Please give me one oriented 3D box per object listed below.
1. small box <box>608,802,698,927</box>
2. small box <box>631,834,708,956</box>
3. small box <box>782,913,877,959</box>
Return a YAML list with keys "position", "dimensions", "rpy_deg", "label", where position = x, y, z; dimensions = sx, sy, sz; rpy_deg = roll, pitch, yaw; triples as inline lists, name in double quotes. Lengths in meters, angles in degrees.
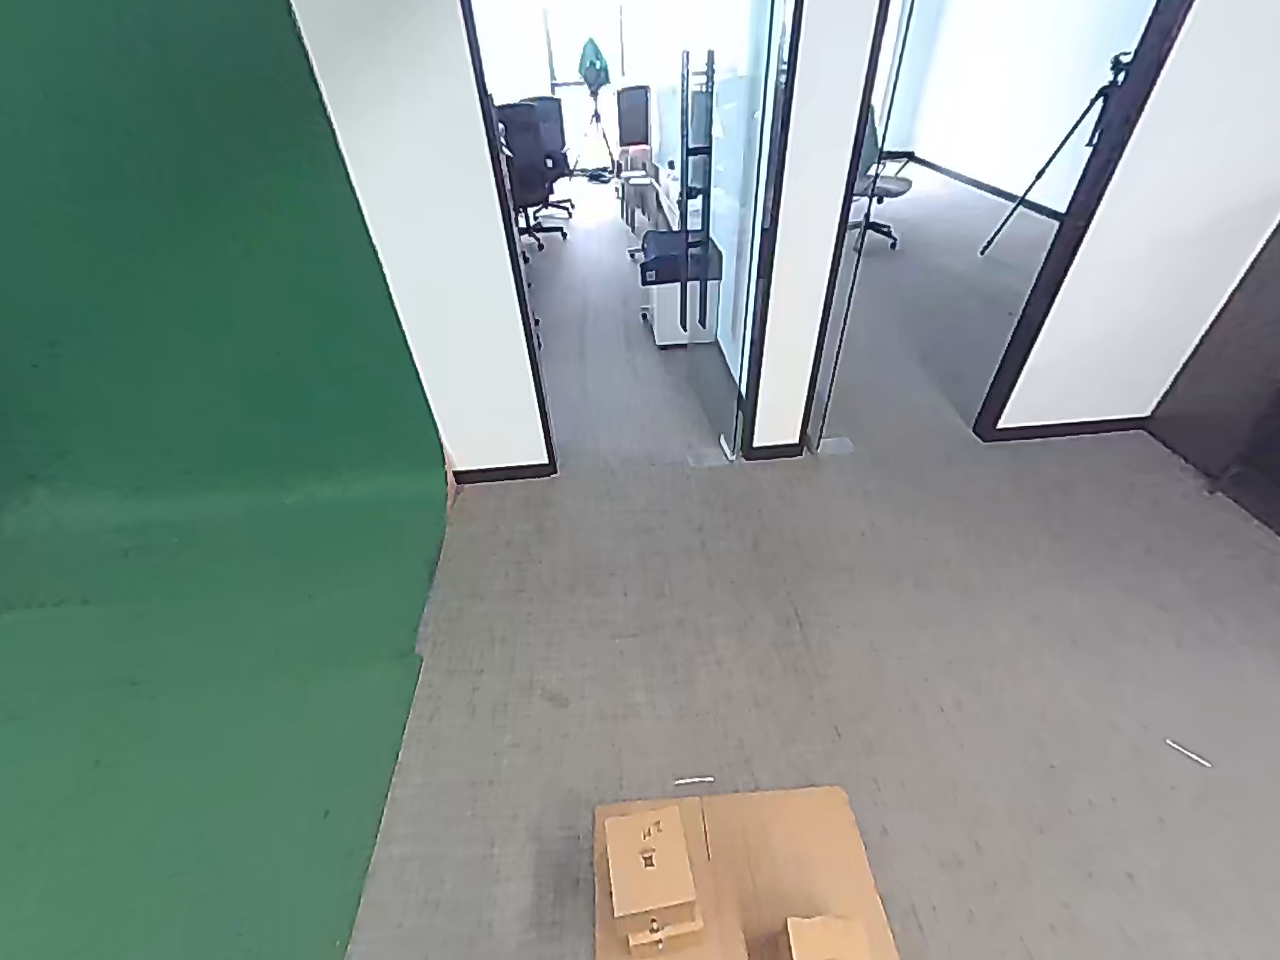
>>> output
- position: [0.026, 0.830, 1.162]
  dimensions: [0.168, 0.176, 0.179]
  rpy_deg: [-6, 40, -6]
  label: "small box"
- position: [0.053, 0.964, 1.258]
  dimensions: [0.168, 0.176, 0.179]
  rpy_deg: [-8, 40, -6]
  label: "small box"
- position: [0.404, 1.042, 1.138]
  dimensions: [0.168, 0.176, 0.179]
  rpy_deg: [-2, 39, 2]
  label: "small box"
